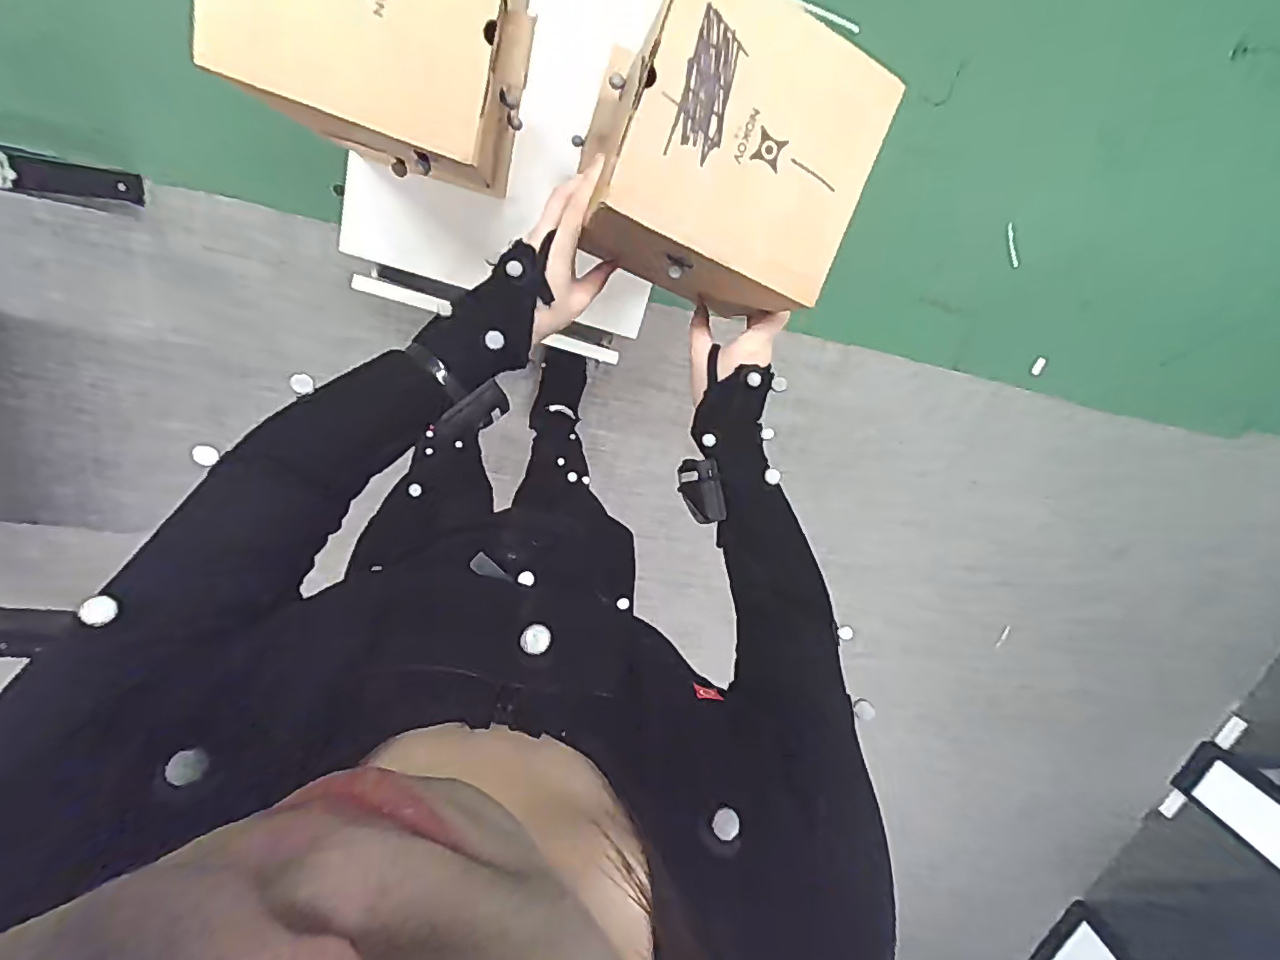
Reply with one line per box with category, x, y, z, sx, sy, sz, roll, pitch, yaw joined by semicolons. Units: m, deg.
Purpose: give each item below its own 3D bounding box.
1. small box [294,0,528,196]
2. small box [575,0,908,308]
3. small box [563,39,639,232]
small box;-0.217;-0.405;0.549;0.179;0.176;0.168;11;110;-15
small box;0.060;-0.247;0.433;0.179;0.176;0.168;18;99;-19
small box;0.016;-0.343;0.615;0.179;0.176;0.168;15;110;-16
